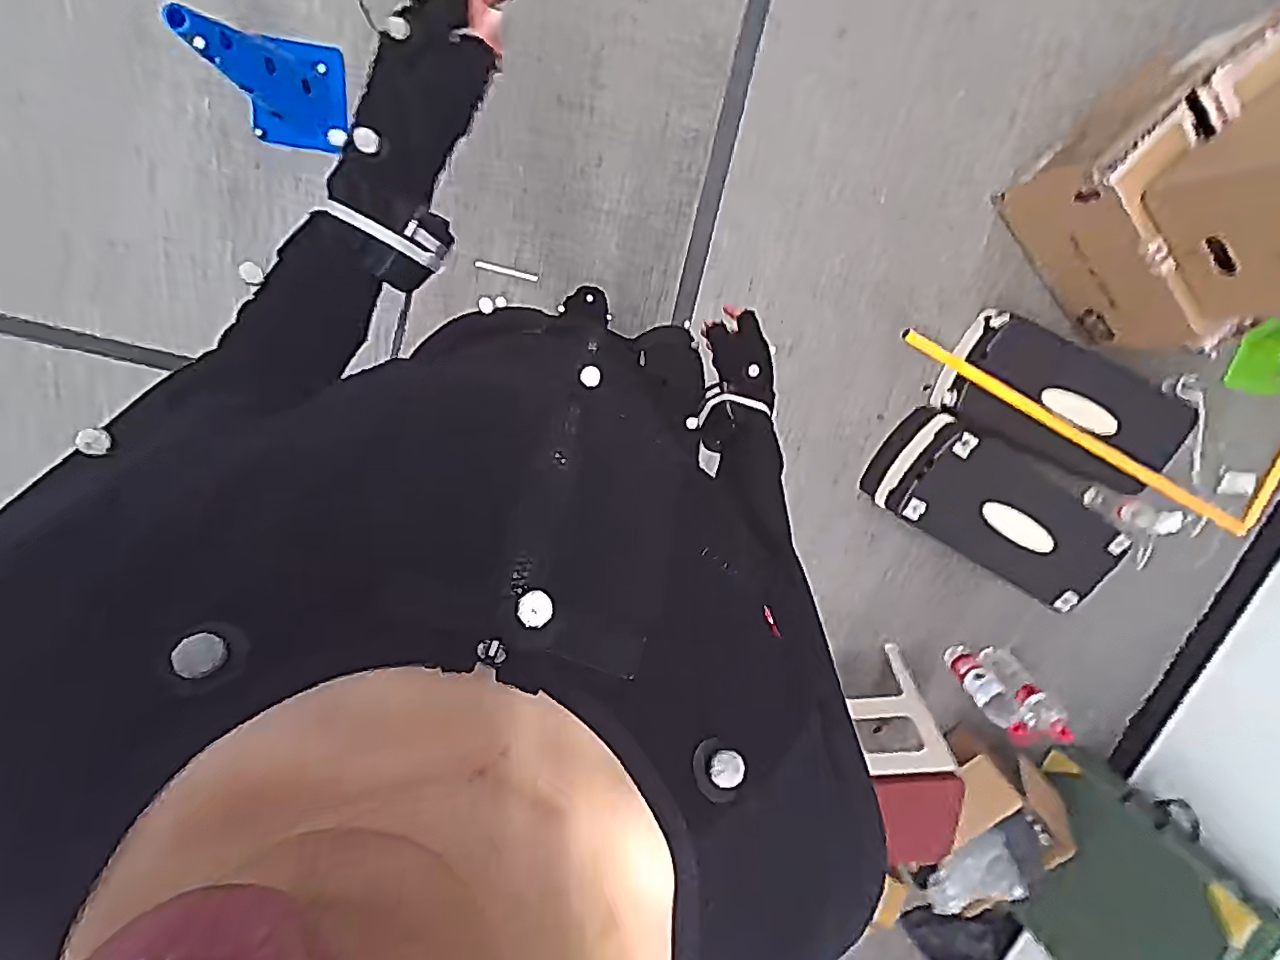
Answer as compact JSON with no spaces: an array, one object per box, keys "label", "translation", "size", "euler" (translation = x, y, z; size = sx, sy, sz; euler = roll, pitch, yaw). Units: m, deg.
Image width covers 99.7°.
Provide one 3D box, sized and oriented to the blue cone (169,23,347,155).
[{"label":"blue cone","translation":[-0.725,-0.762,1.009],"size":[0.193,0.380,0.192],"euler":[7,109,-6]}]
